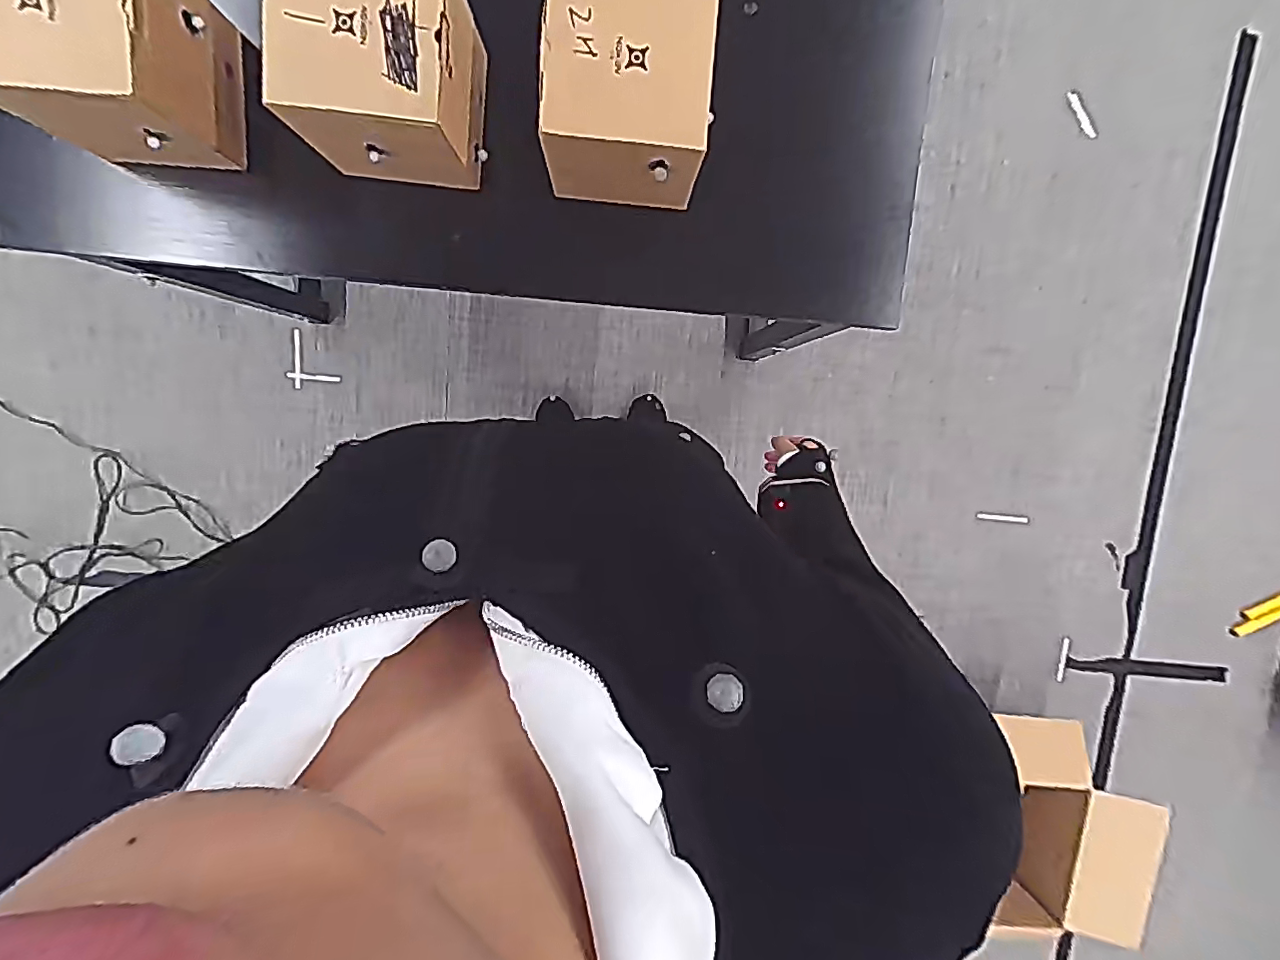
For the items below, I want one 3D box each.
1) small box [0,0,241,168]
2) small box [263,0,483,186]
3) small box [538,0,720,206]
[{"bbox_3d":[-0.580,-0.469,0.599,0.179,0.176,0.168,2,96,-3],"label":"small box"},{"bbox_3d":[-0.285,-0.457,0.613,0.179,0.176,0.168,5,97,-2],"label":"small box"},{"bbox_3d":[-0.016,-0.438,0.627,0.179,0.176,0.168,4,96,-4],"label":"small box"}]
